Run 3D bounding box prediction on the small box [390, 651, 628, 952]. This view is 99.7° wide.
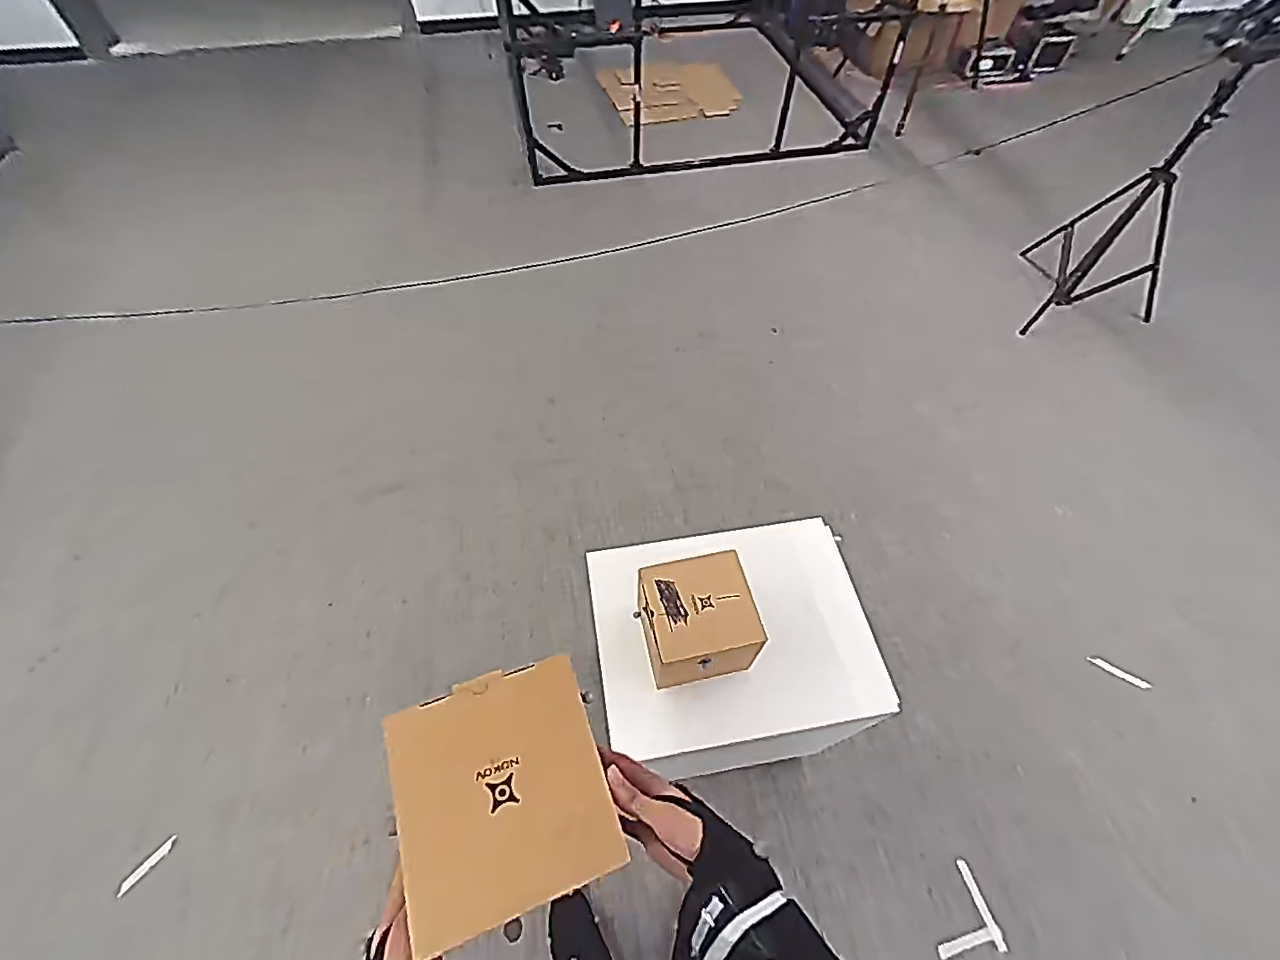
[{"bbox_3d":[-0.118,0.293,0.511,0.168,0.176,0.179,-15,57,-16],"label":"small box"}]

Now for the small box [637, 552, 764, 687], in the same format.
[{"bbox_3d":[0.095,0.250,0.950,0.179,0.176,0.168,-9,57,-8],"label":"small box"}]
